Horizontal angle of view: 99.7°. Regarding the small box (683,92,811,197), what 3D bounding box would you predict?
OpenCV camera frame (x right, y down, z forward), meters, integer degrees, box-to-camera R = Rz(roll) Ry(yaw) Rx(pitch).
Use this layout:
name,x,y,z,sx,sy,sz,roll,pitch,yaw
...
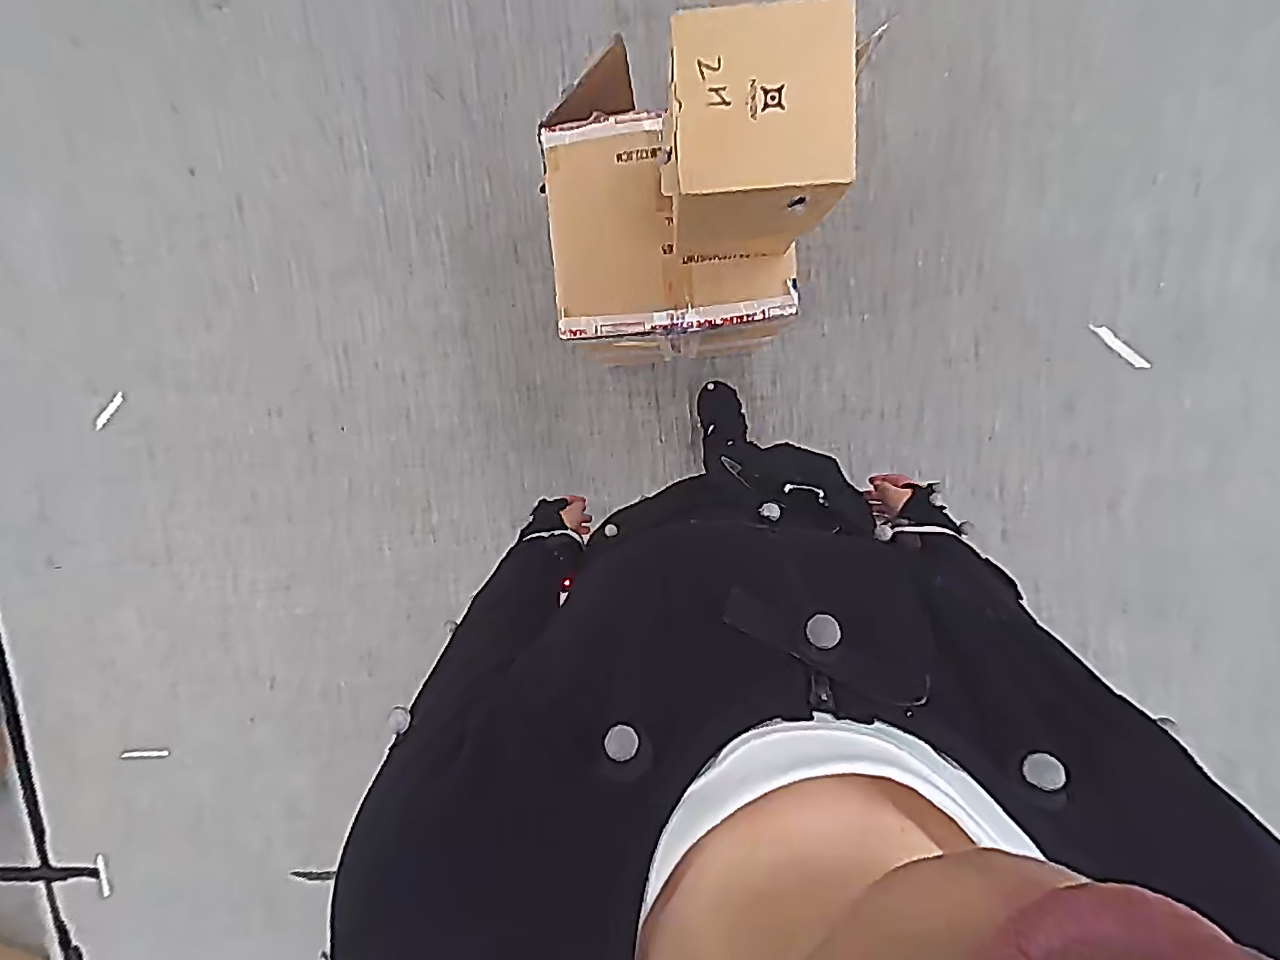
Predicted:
name,x,y,z,sx,sy,sz,roll,pitch,yaw
small box,0.146,-0.495,0.724,0.179,0.176,0.168,-1,99,2

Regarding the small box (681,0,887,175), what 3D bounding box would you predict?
name,x,y,z,sx,sy,sz,roll,pitch,yaw
small box,0.137,-0.444,0.566,0.179,0.176,0.168,-4,99,3
